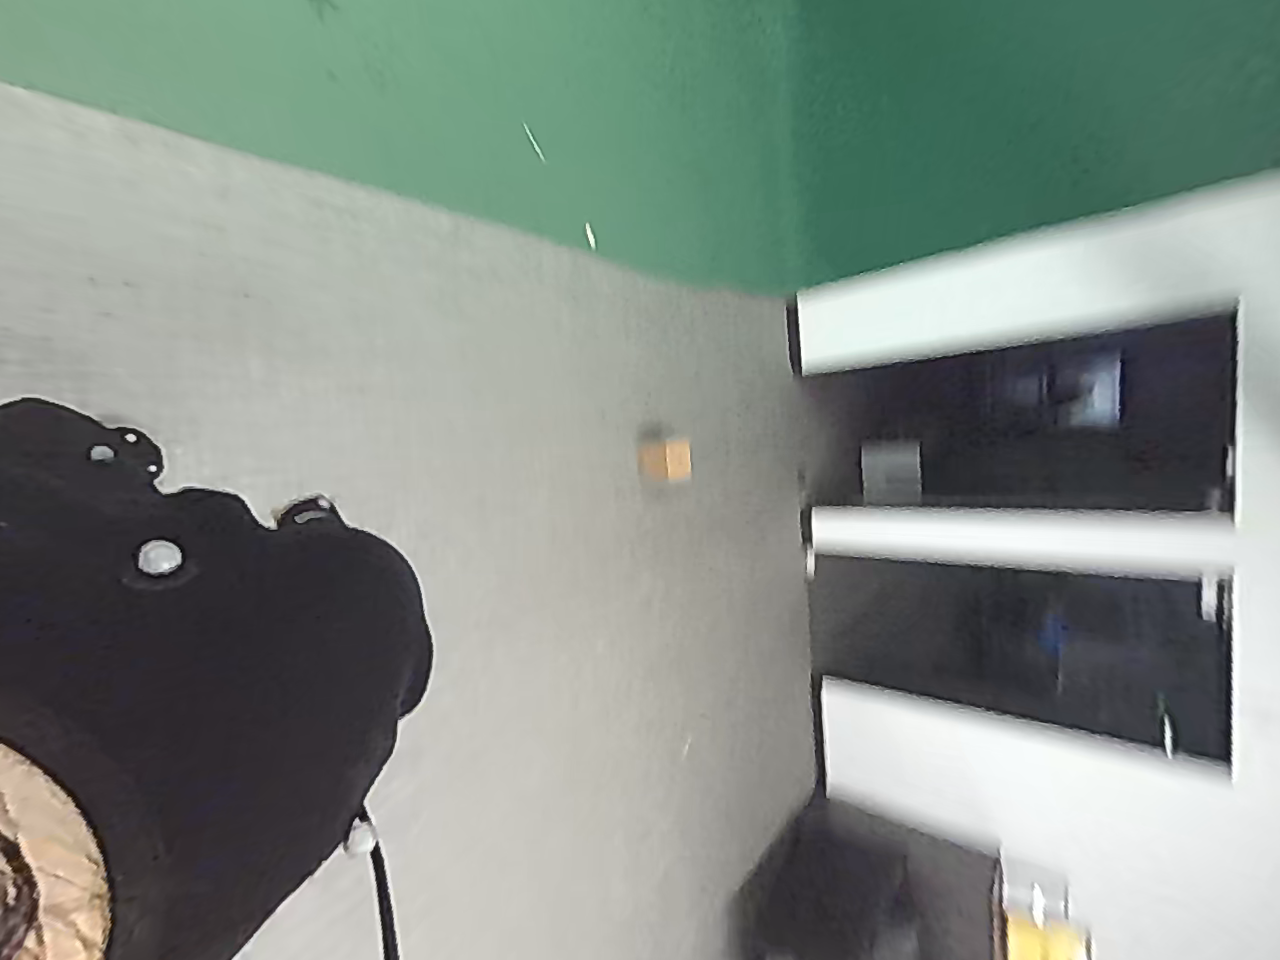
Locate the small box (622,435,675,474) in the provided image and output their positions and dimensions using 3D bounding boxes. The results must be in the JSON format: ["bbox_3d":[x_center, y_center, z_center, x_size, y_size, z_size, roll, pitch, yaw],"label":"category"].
[{"bbox_3d":[0.039,-0.116,2.423,0.179,0.176,0.168,-10,97,-51],"label":"small box"}]
